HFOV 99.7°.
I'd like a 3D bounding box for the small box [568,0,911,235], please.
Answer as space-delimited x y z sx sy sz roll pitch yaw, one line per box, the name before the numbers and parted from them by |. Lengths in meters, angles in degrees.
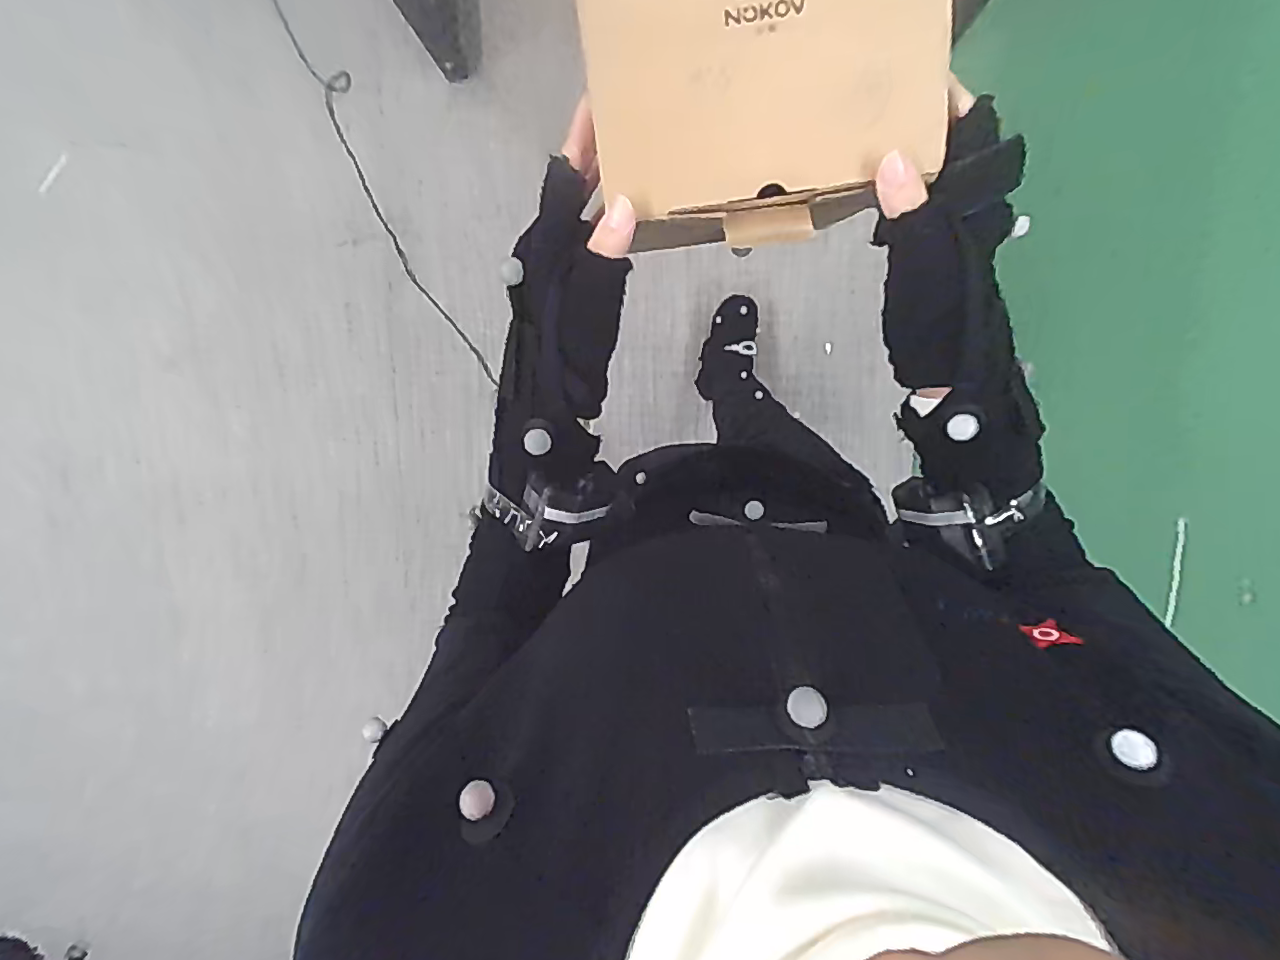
small box | 0.051 -0.261 0.338 0.168 0.176 0.179 -9 108 5
